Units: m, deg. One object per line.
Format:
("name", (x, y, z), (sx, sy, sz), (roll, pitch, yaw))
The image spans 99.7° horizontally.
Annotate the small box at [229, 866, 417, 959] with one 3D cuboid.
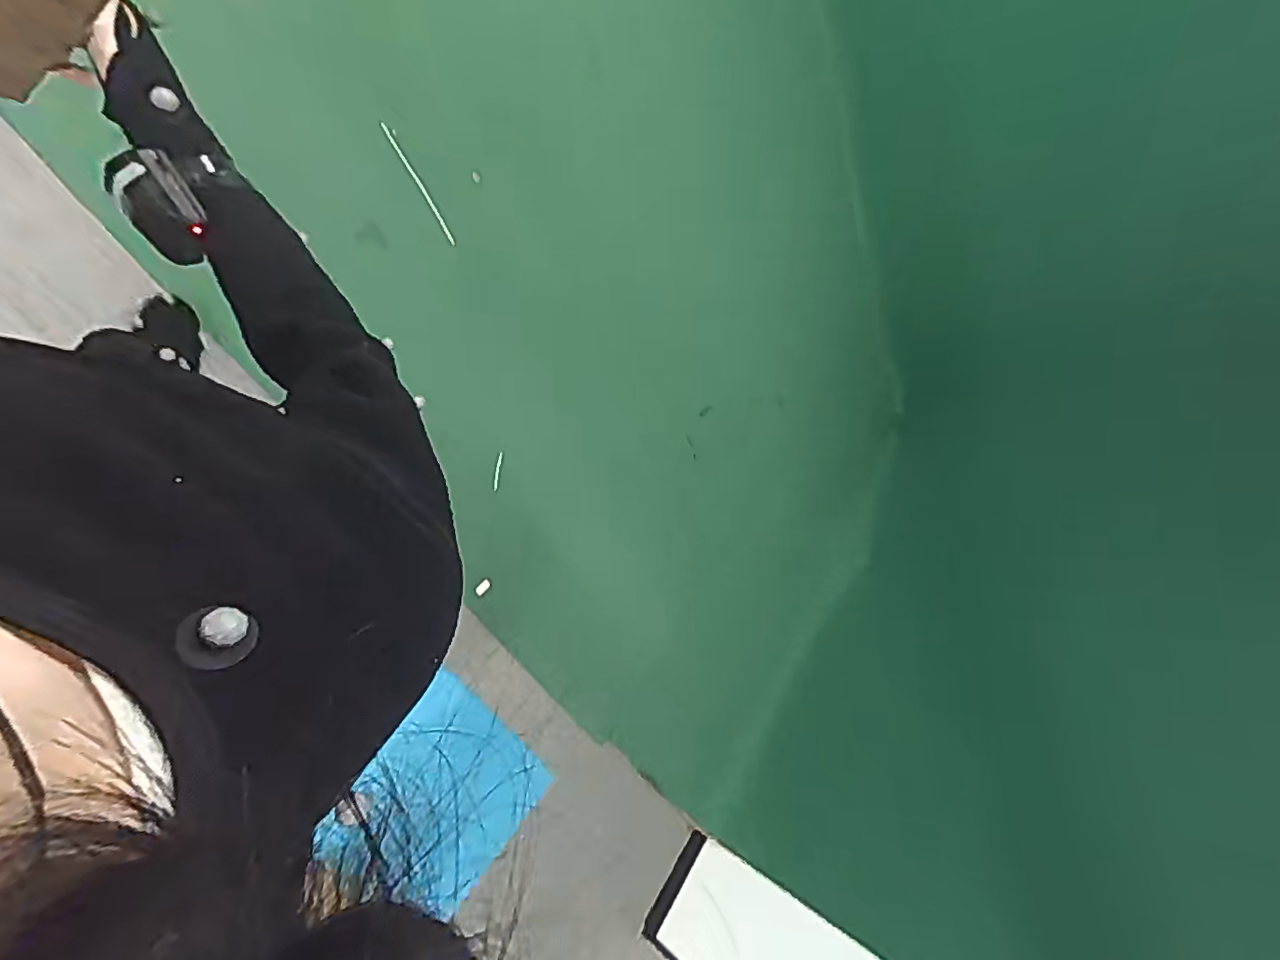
("small box", (-0.492, 0.747, 0.836), (0.168, 0.176, 0.179), (-47, 126, -30))
